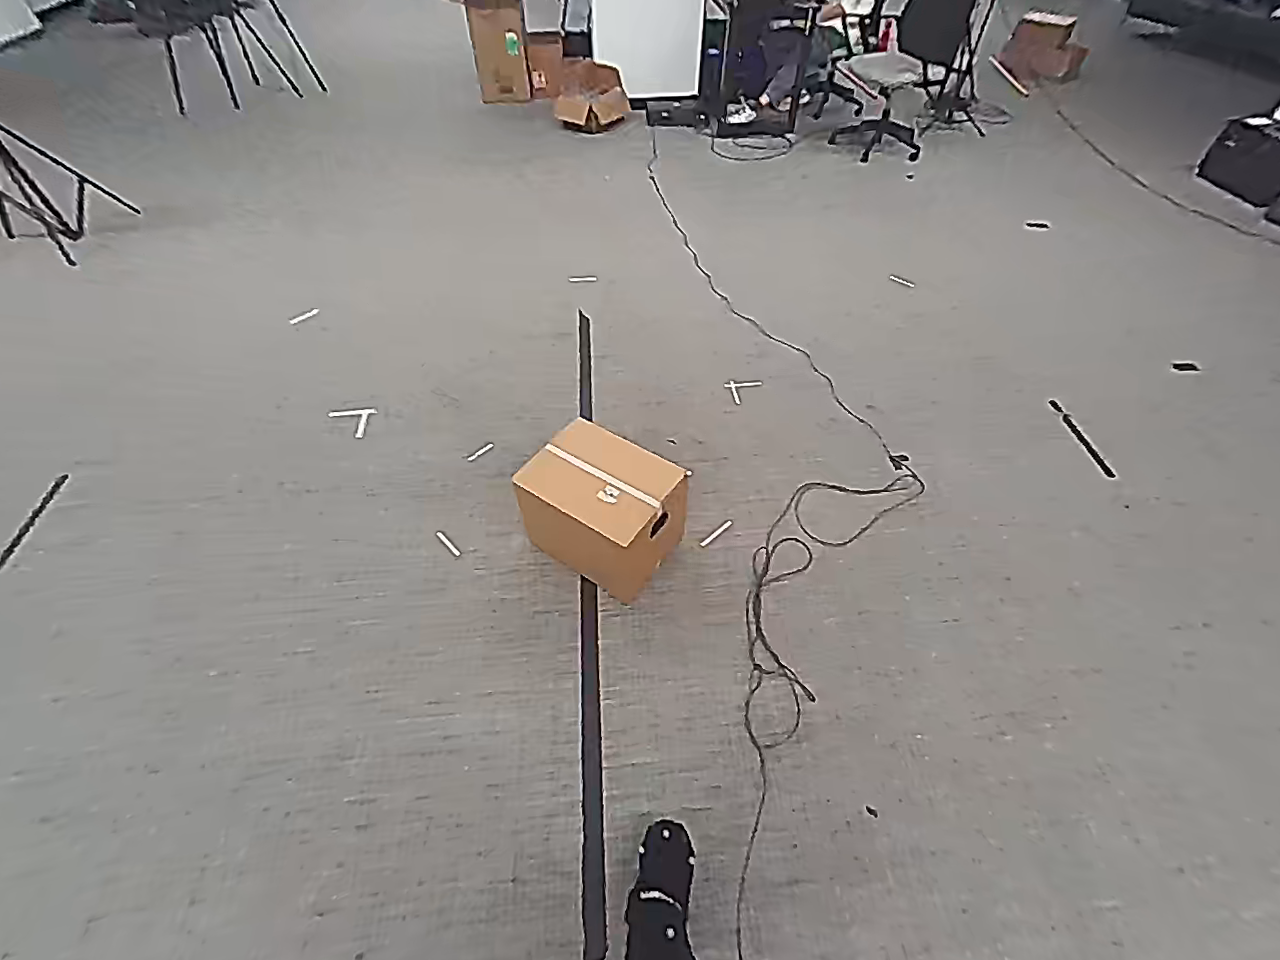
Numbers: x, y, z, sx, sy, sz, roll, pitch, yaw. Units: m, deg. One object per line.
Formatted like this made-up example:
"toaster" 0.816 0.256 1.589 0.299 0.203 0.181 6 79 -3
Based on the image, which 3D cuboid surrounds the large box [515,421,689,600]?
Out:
"large box" -0.112 0.090 1.645 0.408 0.320 0.320 28 56 21
